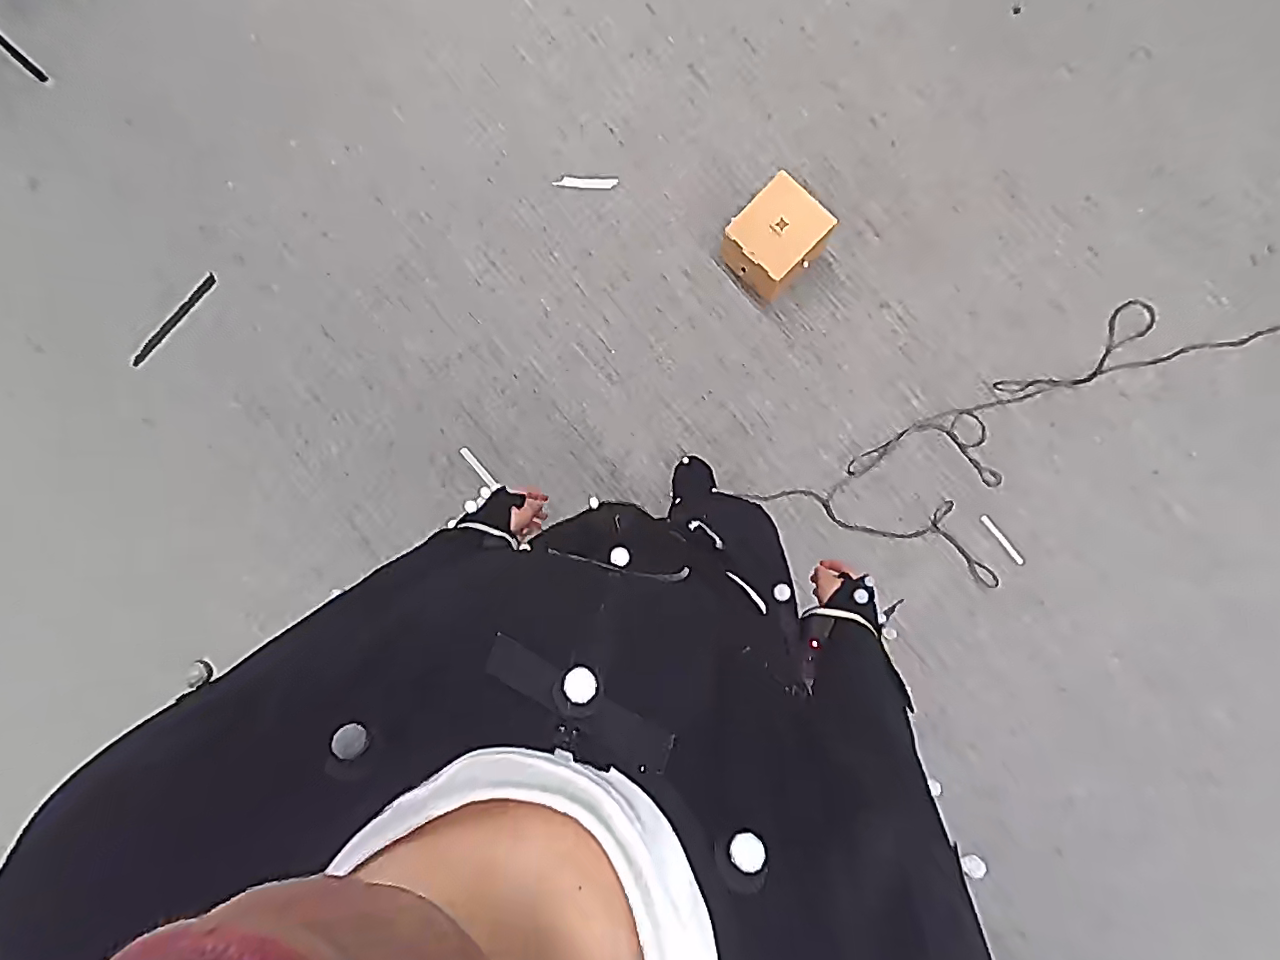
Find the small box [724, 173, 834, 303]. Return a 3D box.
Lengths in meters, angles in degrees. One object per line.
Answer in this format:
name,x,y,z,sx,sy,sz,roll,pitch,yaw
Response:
small box,0.304,-0.538,1.228,0.168,0.176,0.179,45,98,4
